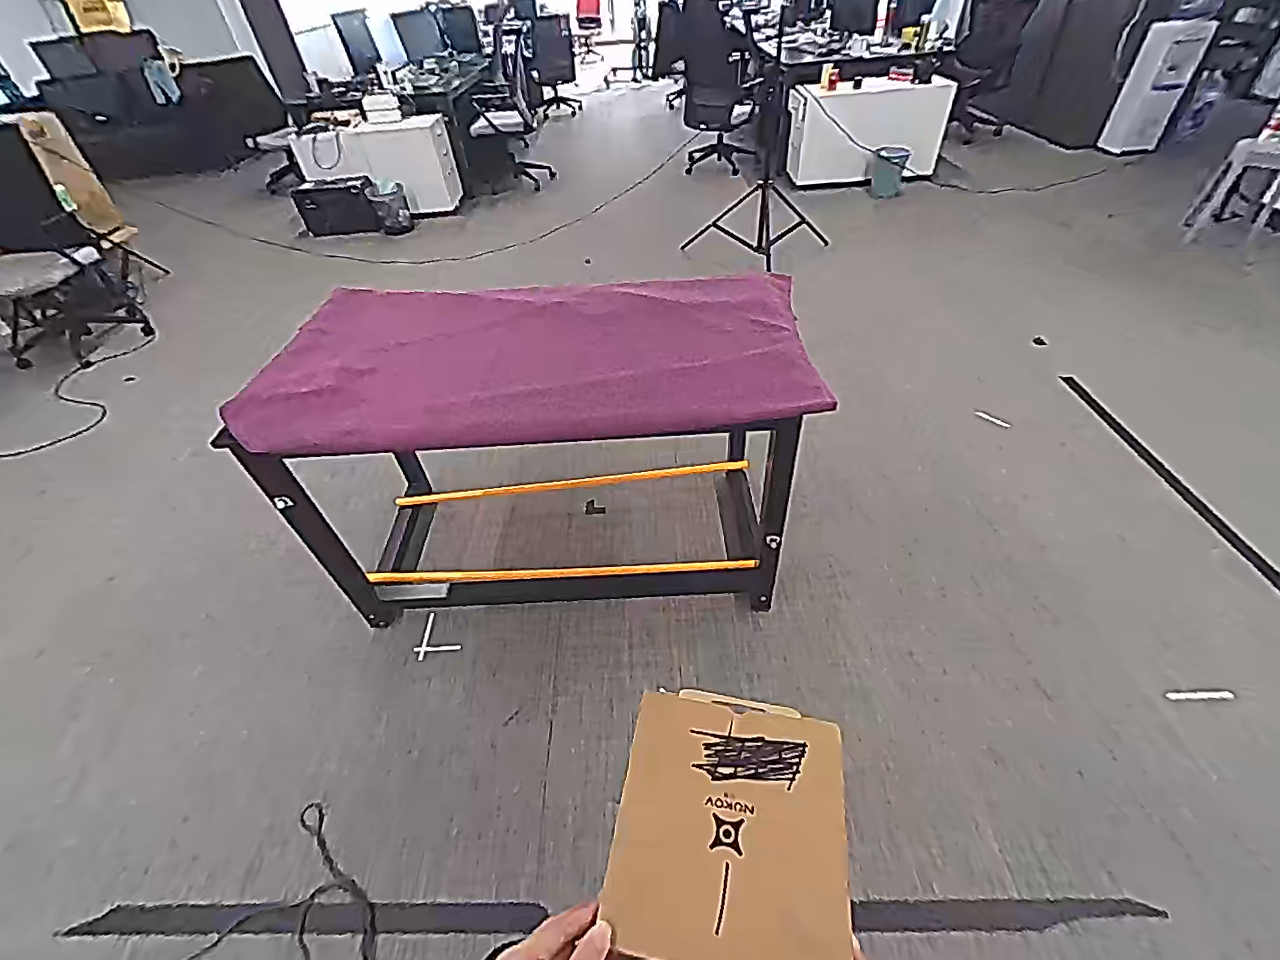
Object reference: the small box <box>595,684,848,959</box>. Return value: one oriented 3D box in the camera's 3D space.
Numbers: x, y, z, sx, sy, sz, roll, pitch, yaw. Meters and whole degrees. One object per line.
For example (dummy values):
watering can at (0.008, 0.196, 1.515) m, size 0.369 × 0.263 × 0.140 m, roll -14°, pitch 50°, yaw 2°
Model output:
small box at (0.069, 0.305, 0.456) m, size 0.168 × 0.176 × 0.179 m, roll 6°, pitch 44°, yaw 11°
